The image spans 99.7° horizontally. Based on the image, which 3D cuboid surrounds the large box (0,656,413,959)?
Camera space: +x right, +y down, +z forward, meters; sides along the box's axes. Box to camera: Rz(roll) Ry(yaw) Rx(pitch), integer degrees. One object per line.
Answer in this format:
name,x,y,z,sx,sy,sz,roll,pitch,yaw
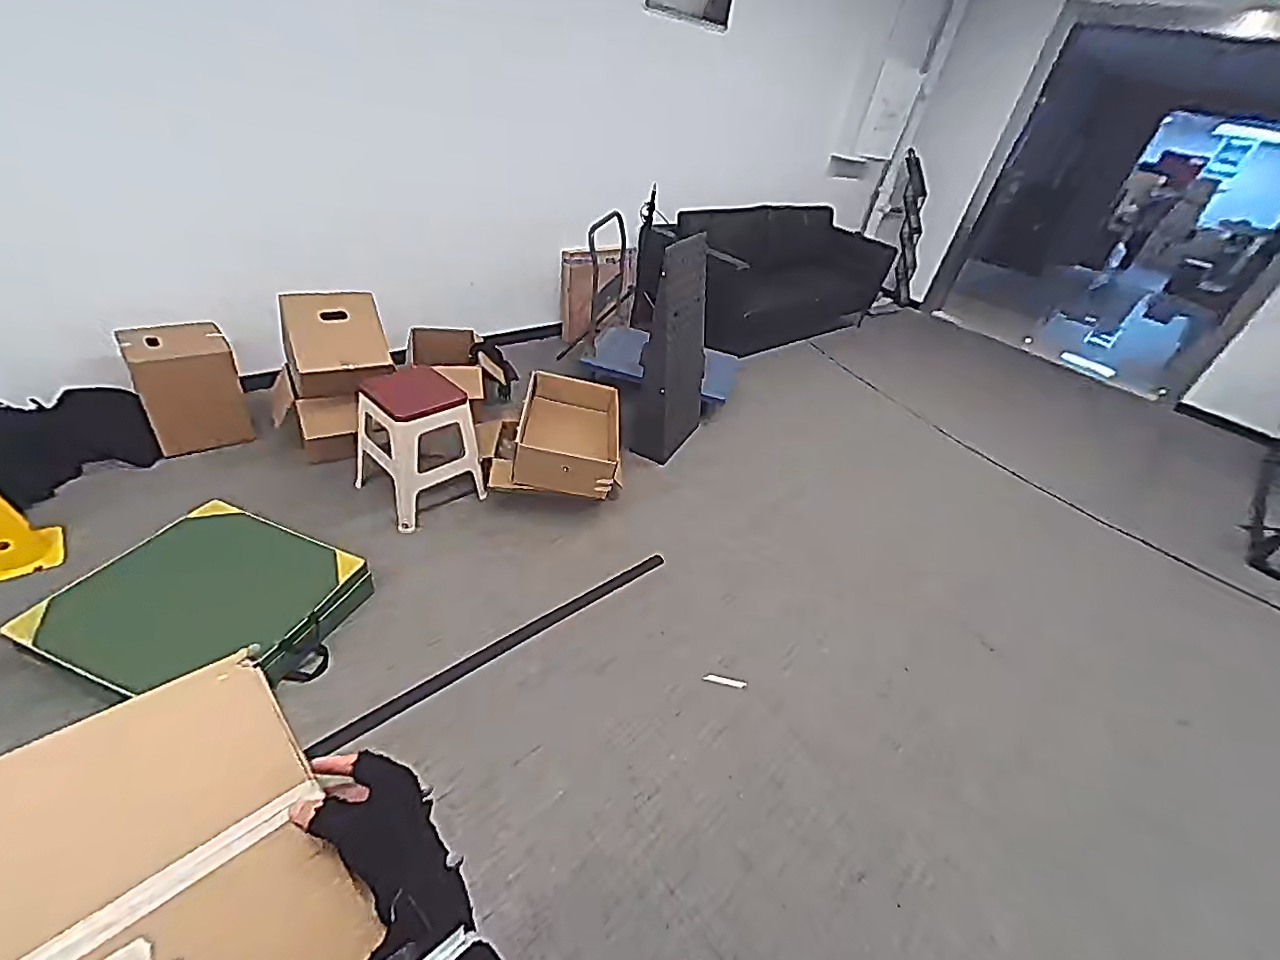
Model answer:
large box,-0.449,0.429,0.420,0.408,0.320,0.320,-23,58,-43
